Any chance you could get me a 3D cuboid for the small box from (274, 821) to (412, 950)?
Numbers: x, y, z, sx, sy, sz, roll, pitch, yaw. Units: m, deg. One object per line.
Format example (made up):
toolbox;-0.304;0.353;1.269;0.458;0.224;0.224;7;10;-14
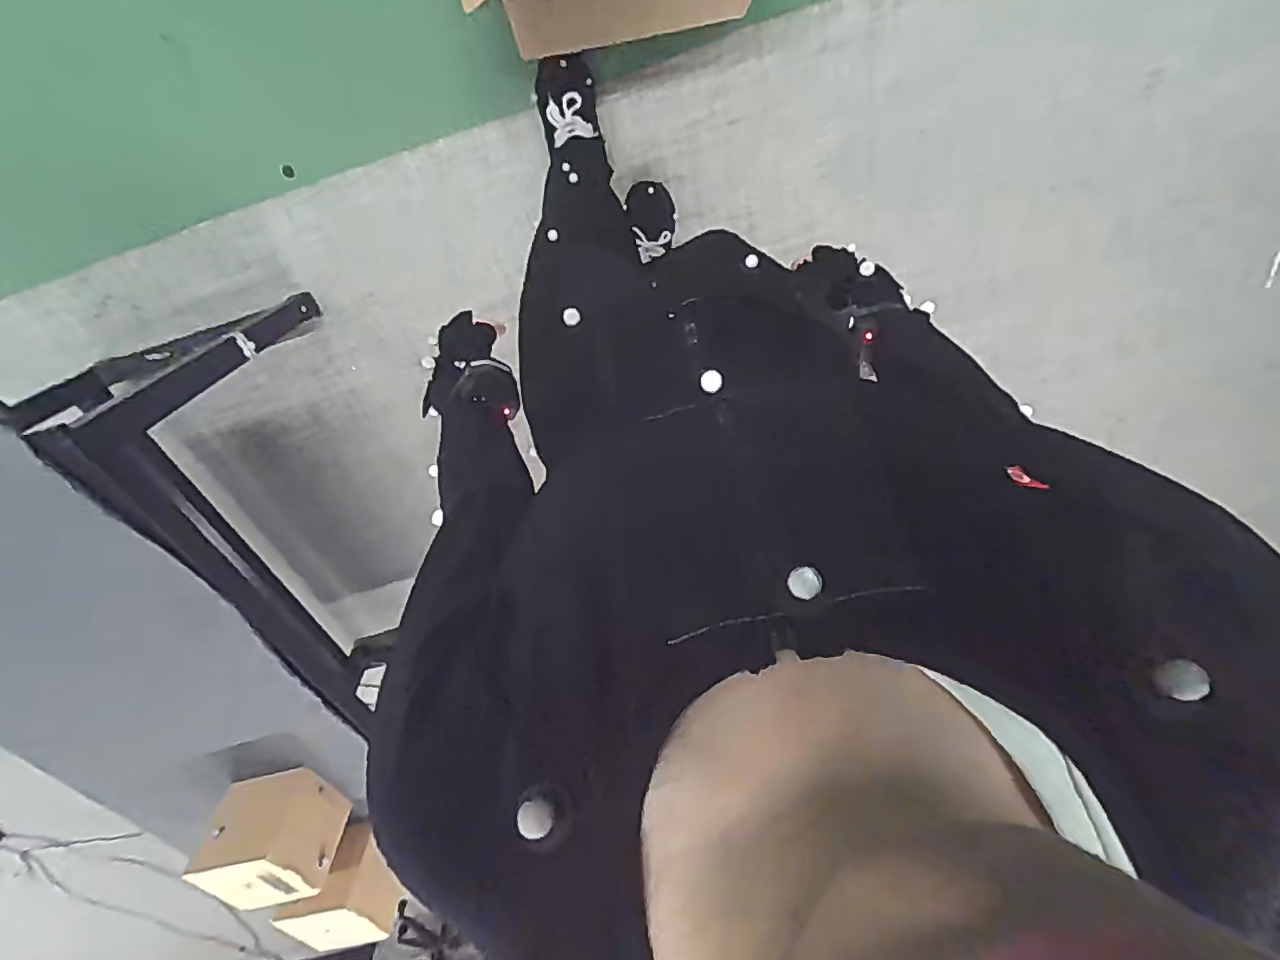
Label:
small box;-0.639;0.886;1.186;0.179;0.176;0.168;-17;122;7
